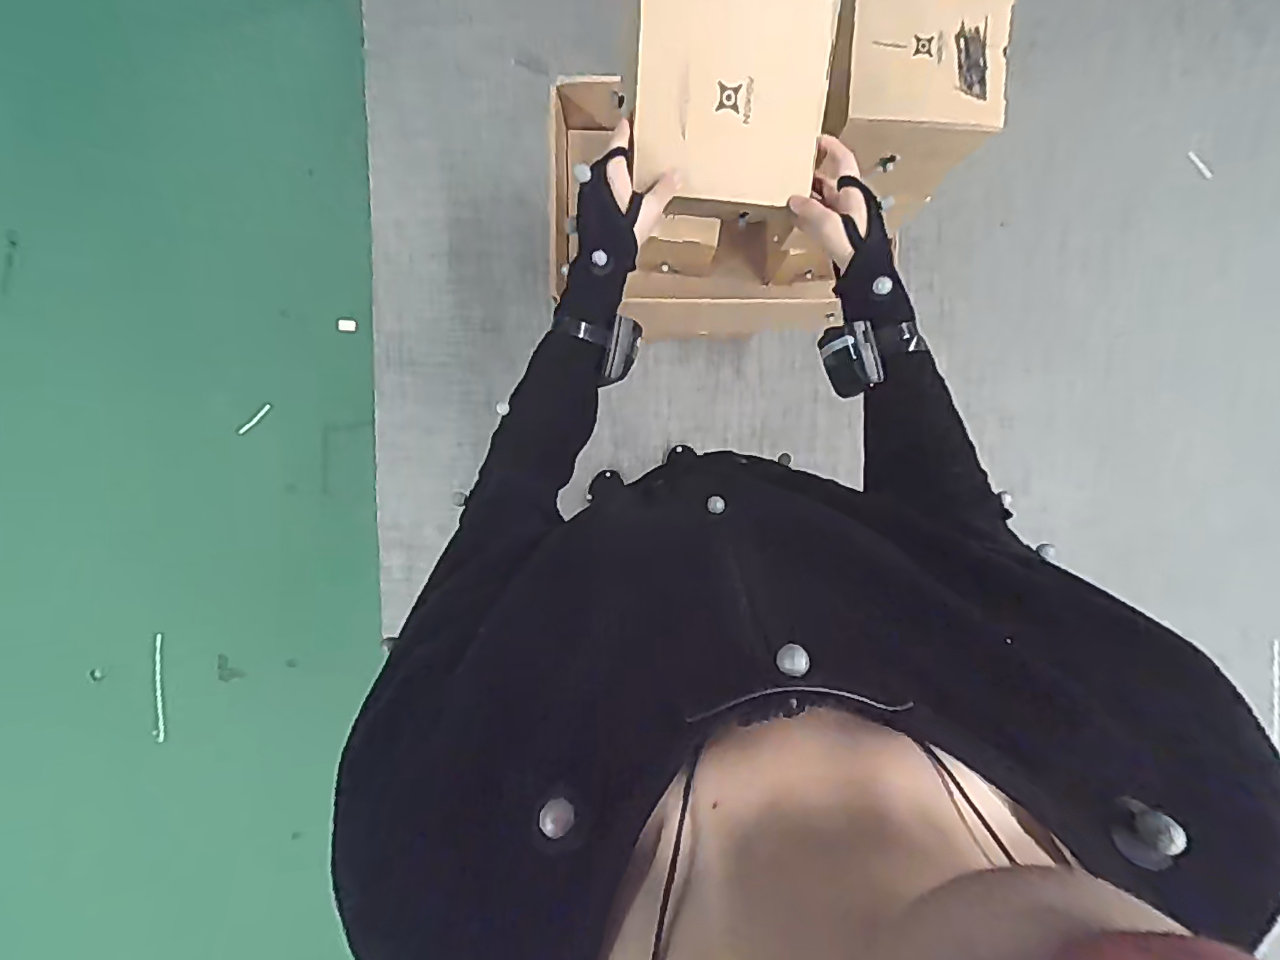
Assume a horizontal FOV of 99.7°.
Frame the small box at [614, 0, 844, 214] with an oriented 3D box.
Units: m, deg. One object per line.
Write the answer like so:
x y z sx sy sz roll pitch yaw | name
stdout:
0.072 -0.371 0.548 0.179 0.176 0.168 1 112 -8 | small box

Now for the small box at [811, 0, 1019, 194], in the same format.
0.321 -0.477 0.667 0.179 0.176 0.168 4 92 1 | small box
